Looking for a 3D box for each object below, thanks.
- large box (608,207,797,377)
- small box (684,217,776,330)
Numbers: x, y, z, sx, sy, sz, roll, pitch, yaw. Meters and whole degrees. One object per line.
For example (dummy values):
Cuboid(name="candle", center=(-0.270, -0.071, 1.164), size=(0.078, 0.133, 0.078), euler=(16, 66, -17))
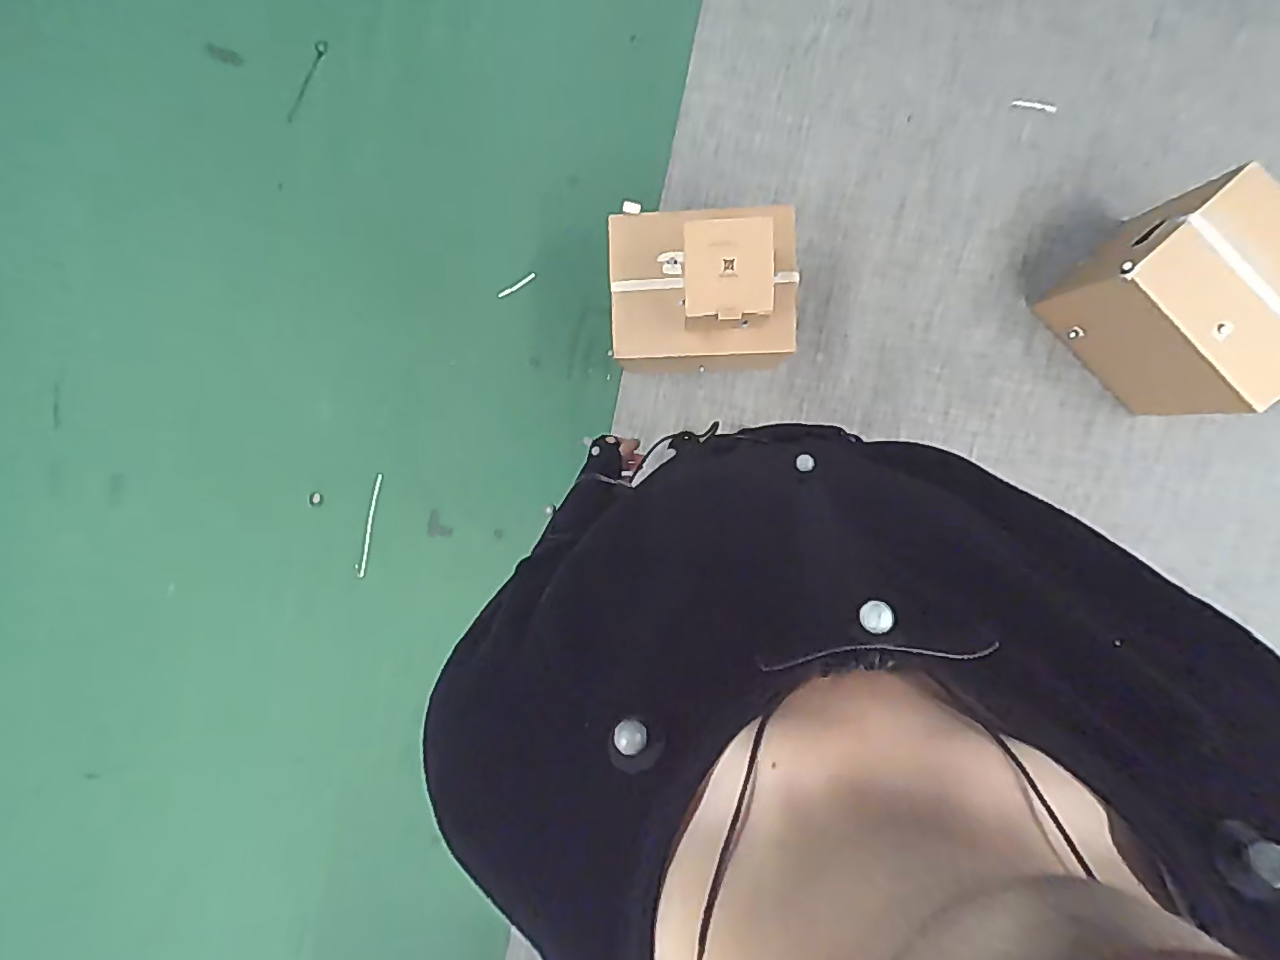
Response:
Cuboid(name="large box", center=(0.150, -0.428, 1.315), size=(0.408, 0.320, 0.320), euler=(-1, 94, 6))
Cuboid(name="small box", center=(0.172, -0.396, 1.068), size=(0.168, 0.176, 0.179), euler=(-1, 95, 4))
